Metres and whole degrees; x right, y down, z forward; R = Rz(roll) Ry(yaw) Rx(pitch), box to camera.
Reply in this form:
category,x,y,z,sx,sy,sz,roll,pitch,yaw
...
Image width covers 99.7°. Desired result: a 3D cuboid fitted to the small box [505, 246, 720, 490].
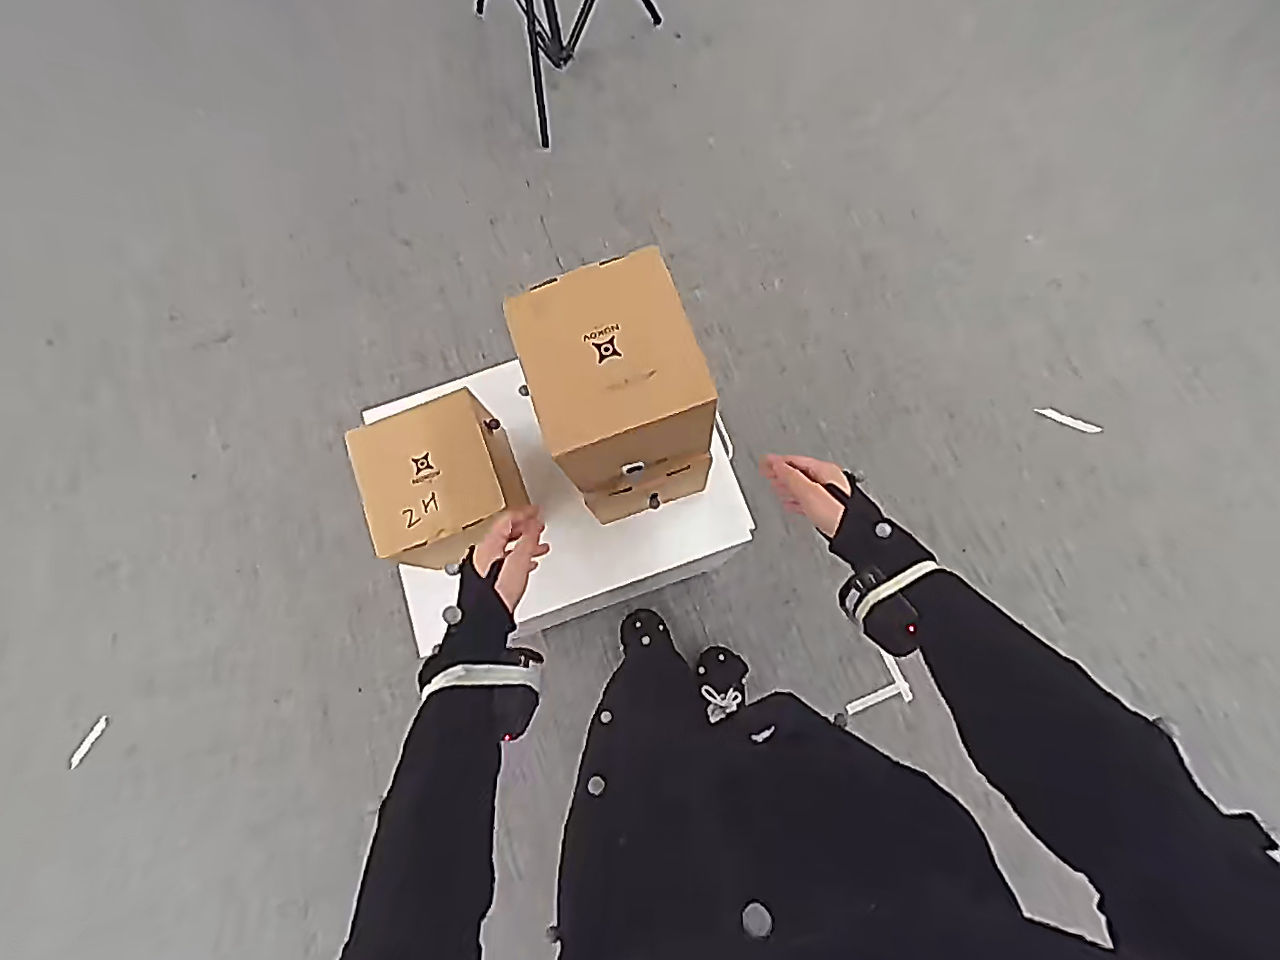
category,x,y,z,sx,sy,sz,roll,pitch,yaw
small box,-0.025,-0.108,0.586,0.168,0.176,0.179,-20,77,0

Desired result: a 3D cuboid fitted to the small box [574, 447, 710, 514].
category,x,y,z,sx,sy,sz,roll,pitch,yaw
small box,-0.012,-0.060,0.741,0.168,0.176,0.179,-19,78,-2

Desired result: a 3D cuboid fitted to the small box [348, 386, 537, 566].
category,x,y,z,sx,sy,sz,roll,pitch,yaw
small box,-0.259,0.005,0.740,0.168,0.176,0.179,-22,77,-2
